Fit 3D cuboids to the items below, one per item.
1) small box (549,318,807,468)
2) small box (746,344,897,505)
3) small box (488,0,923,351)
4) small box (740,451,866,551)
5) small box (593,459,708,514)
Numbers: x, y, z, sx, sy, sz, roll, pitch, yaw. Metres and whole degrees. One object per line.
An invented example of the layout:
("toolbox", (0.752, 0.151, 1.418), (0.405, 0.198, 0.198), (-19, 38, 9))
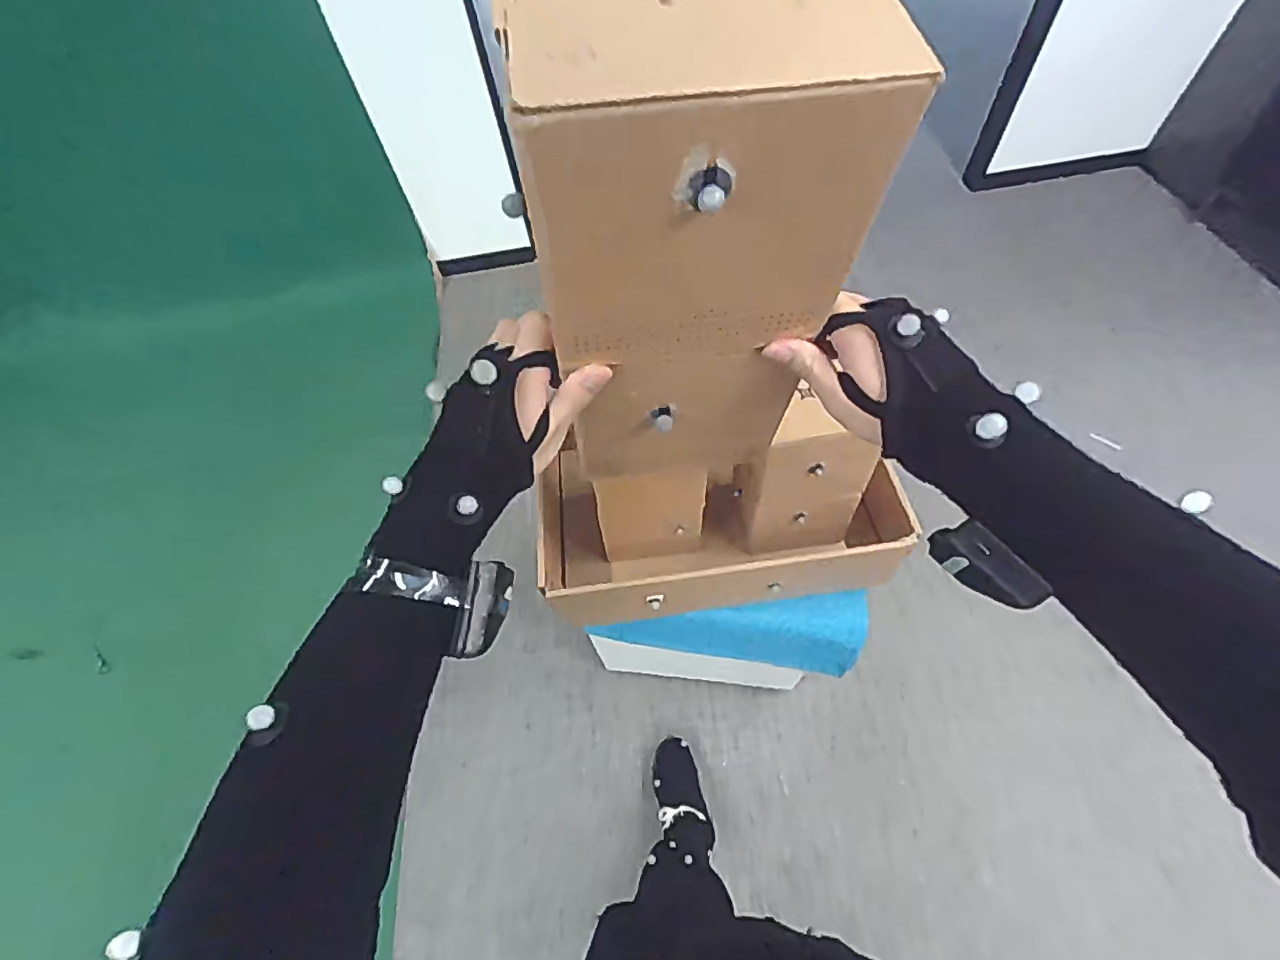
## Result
("small box", (0.020, -0.122, 0.465), (0.179, 0.176, 0.168), (-7, 65, -3))
("small box", (0.261, -0.081, 0.835), (0.179, 0.176, 0.168), (-9, 55, 2))
("small box", (0.019, -0.194, 0.317), (0.179, 0.176, 0.168), (-7, 65, -3))
("small box", (0.277, 0.014, 0.968), (0.179, 0.176, 0.168), (-8, 55, 2))
("small box", (0.011, -0.060, 0.853), (0.179, 0.176, 0.168), (-6, 55, -2))
